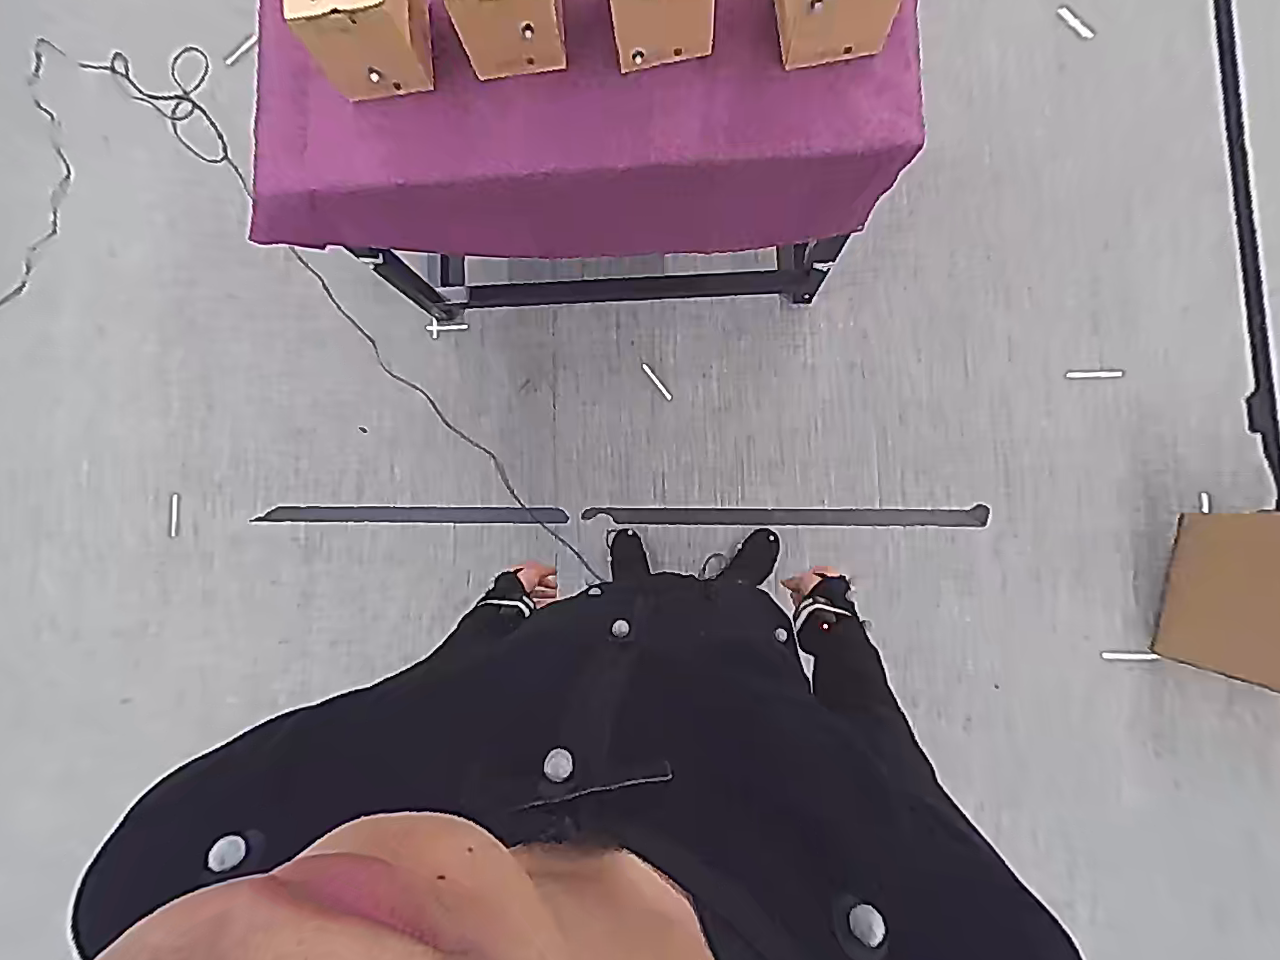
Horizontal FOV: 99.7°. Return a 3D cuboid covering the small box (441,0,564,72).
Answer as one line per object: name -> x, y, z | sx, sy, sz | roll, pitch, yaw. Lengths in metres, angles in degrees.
small box -> -0.228, -0.831, 0.913 | 0.168, 0.176, 0.179 | -4, 85, 4

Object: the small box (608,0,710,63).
small box -> 0.024, -0.834, 0.891 | 0.168, 0.176, 0.179 | -10, 85, 4

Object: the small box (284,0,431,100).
small box -> -0.477, -0.805, 0.930 | 0.168, 0.176, 0.179 | -5, 86, 5
